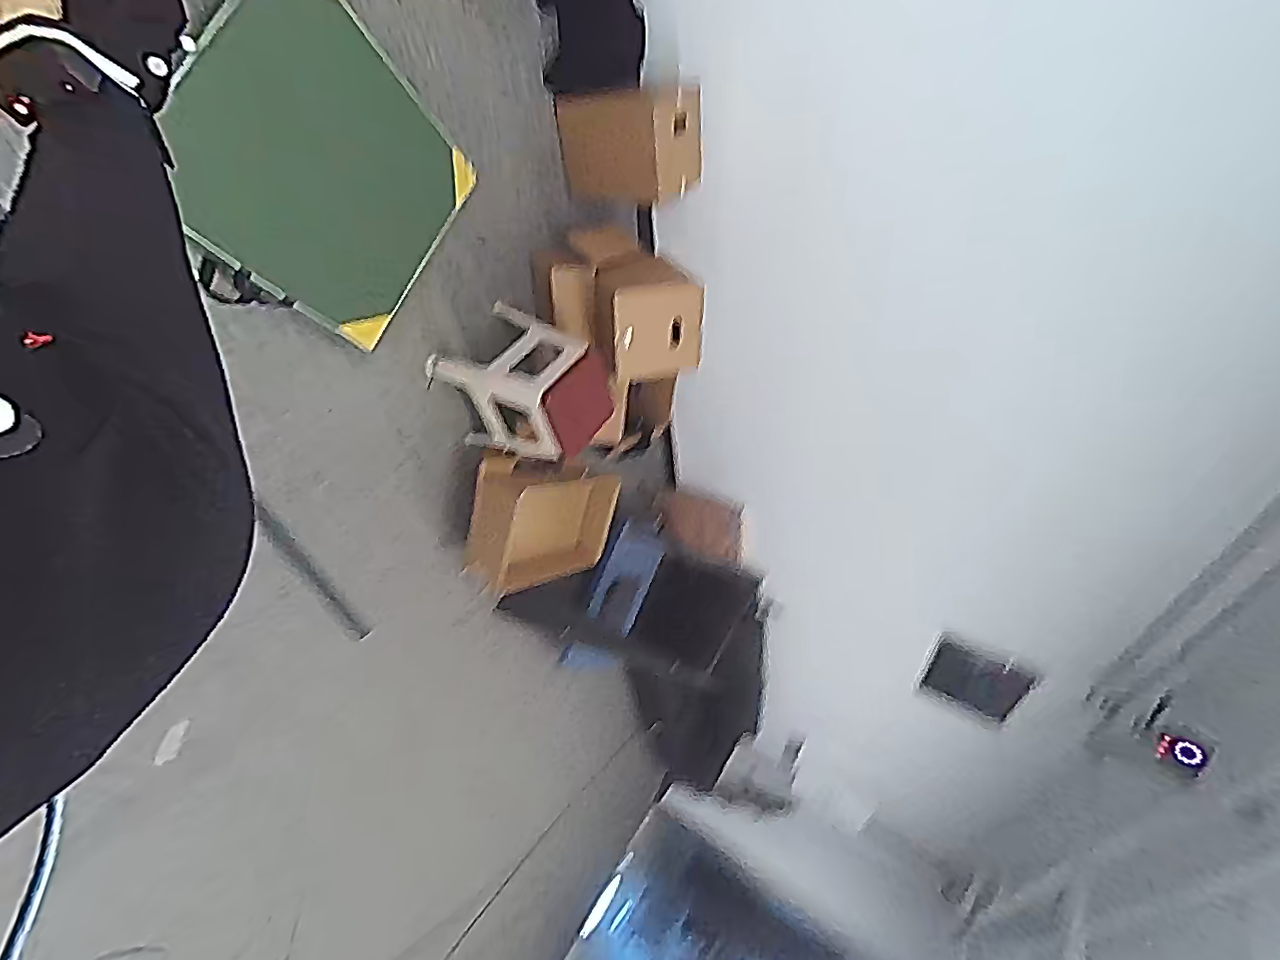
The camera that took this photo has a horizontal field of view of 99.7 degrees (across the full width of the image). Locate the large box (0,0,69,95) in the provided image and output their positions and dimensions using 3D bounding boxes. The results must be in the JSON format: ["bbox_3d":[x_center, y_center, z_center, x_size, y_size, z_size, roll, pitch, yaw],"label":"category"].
[{"bbox_3d":[-0.655,-0.509,0.320,0.408,0.320,0.320,5,105,-61],"label":"large box"}]
